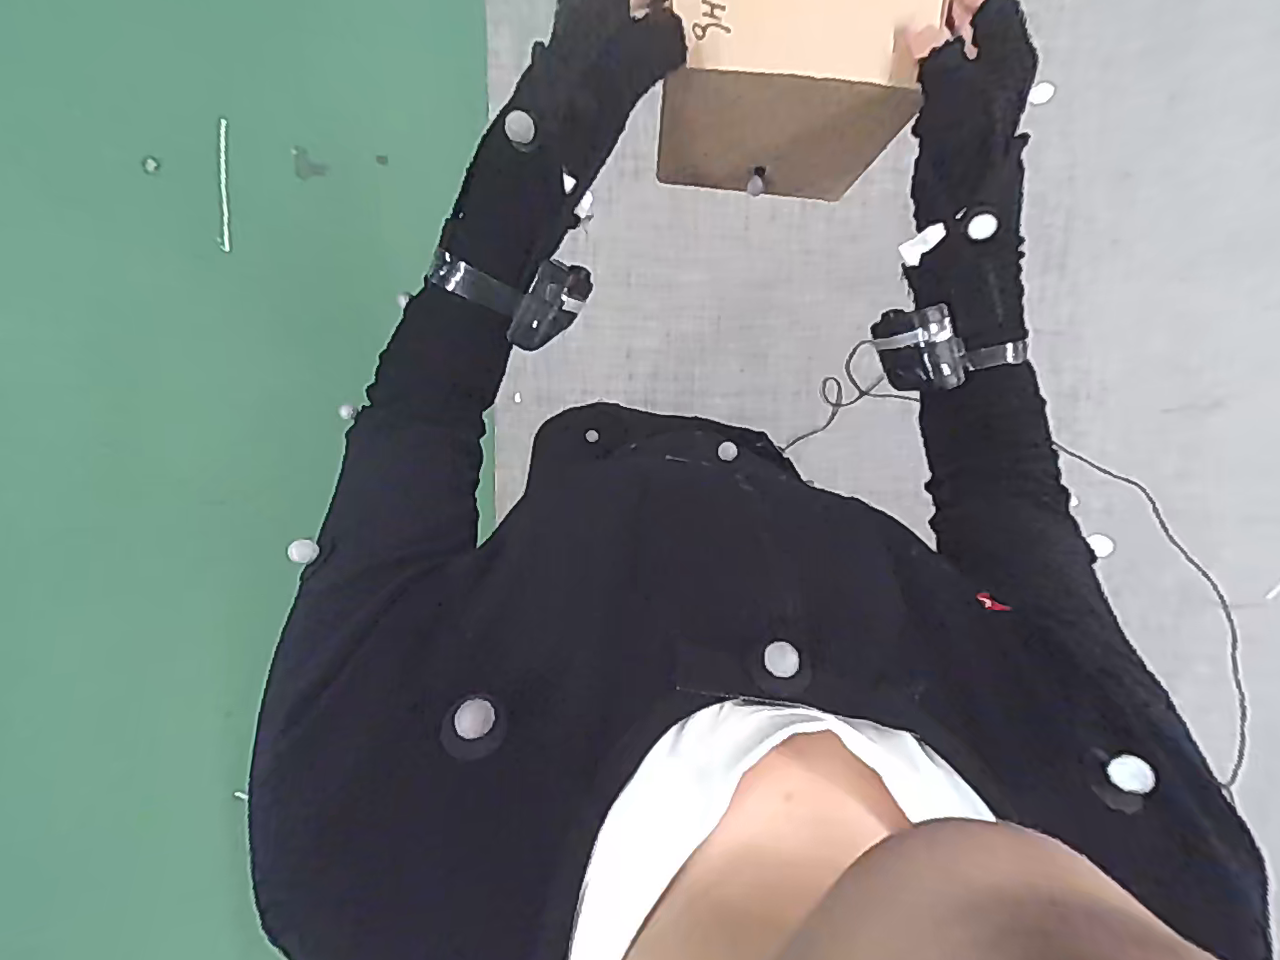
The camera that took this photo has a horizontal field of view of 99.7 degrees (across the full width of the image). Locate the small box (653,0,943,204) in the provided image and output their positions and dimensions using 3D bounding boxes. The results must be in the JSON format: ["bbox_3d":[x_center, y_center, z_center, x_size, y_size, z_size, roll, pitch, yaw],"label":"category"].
[{"bbox_3d":[0.109,-0.339,0.423,0.179,0.176,0.168,5,93,-2],"label":"small box"}]
